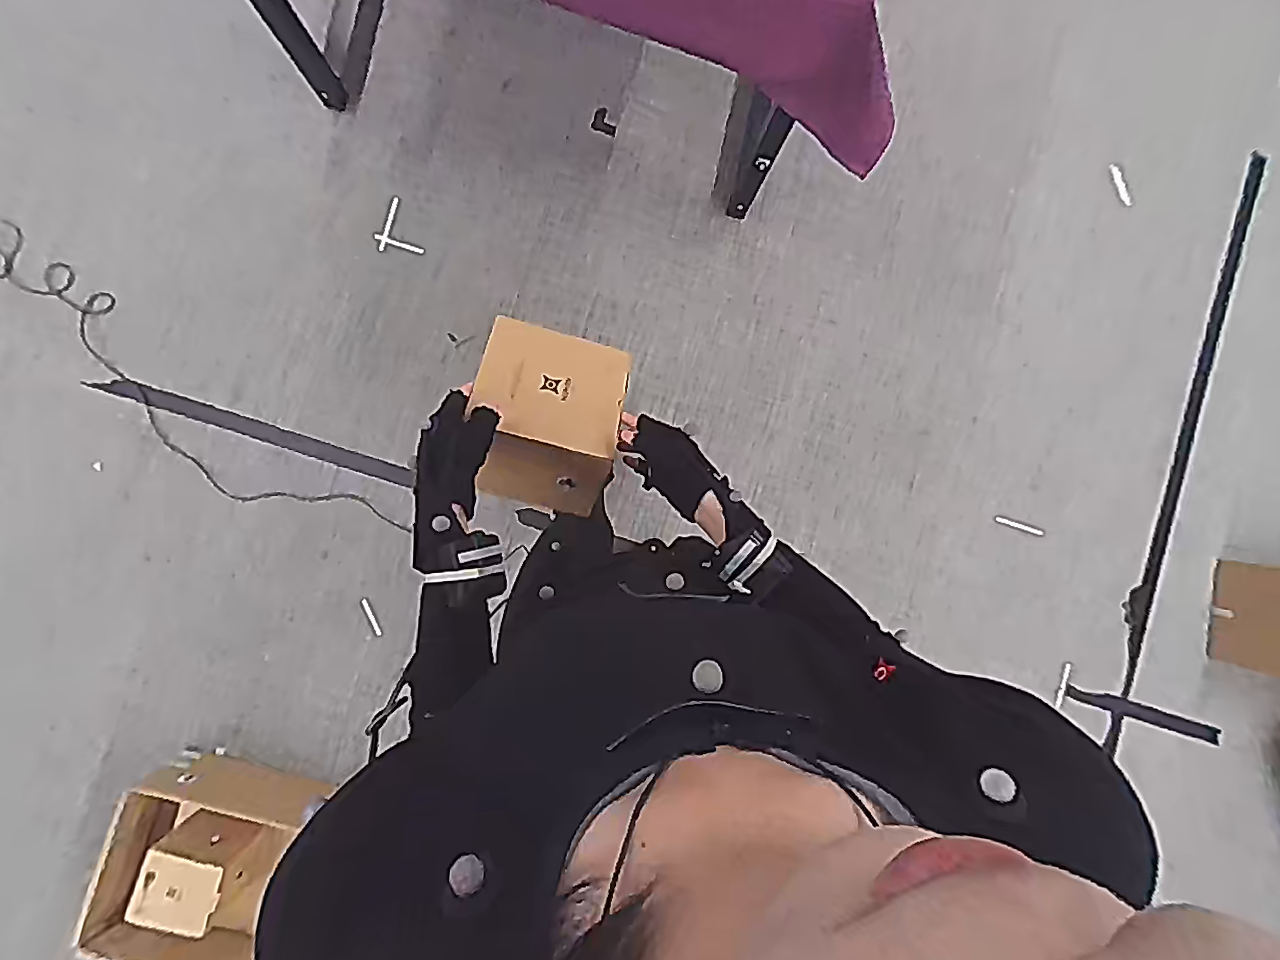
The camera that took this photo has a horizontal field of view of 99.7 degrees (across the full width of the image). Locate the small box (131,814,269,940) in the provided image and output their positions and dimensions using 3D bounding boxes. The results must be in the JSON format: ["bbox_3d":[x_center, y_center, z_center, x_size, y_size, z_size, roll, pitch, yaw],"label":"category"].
[{"bbox_3d":[-1.043,0.943,1.301,0.179,0.176,0.168,18,86,-5],"label":"small box"}]

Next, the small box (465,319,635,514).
[{"bbox_3d":[-0.118,-0.073,0.704,0.179,0.176,0.168,13,56,-9],"label":"small box"}]
